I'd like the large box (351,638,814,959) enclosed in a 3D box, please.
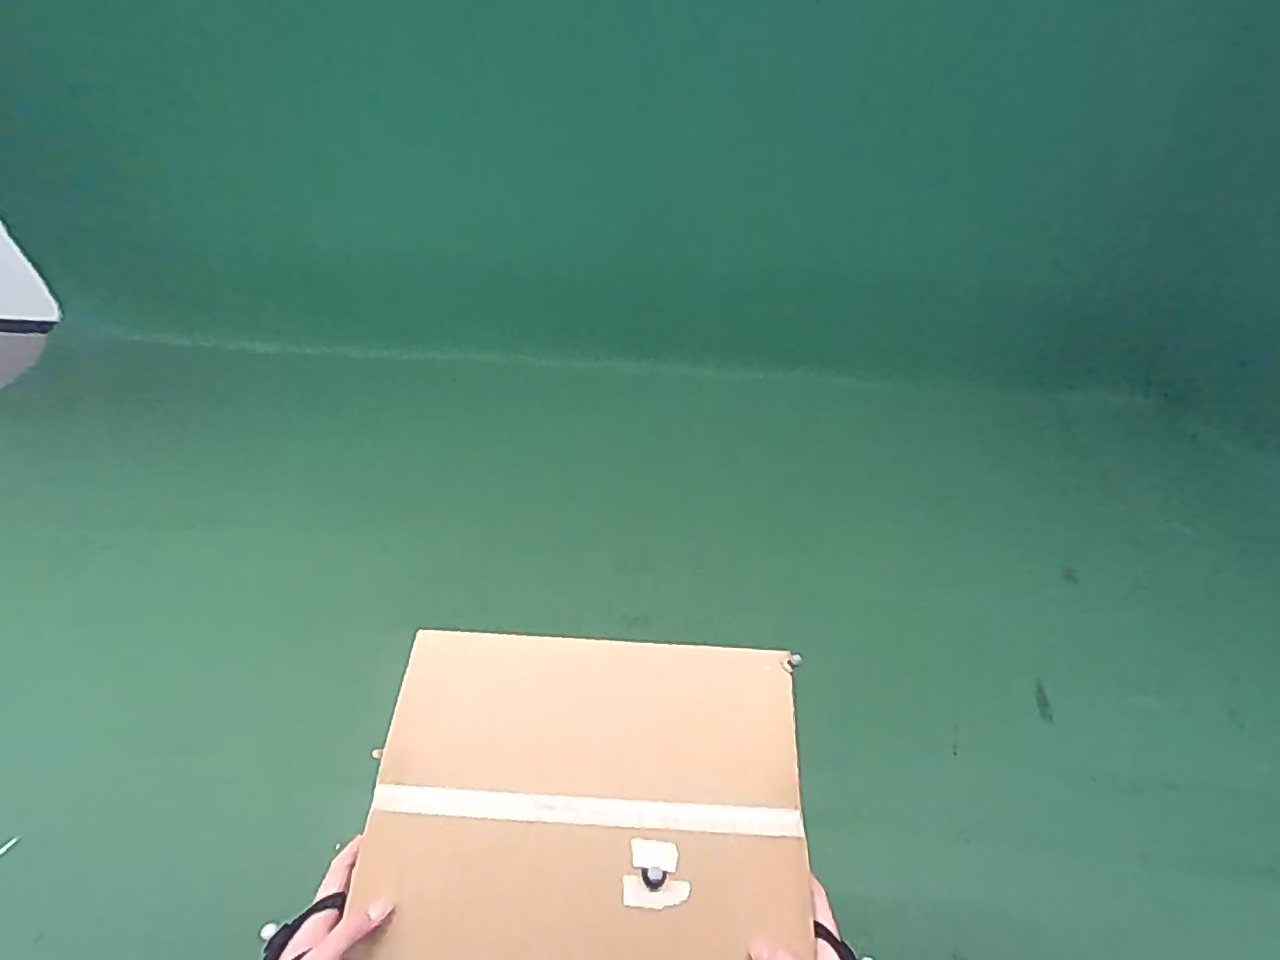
[{"bbox_3d":[-0.048,0.387,0.645,0.408,0.320,0.320,3,61,1],"label":"large box"}]
